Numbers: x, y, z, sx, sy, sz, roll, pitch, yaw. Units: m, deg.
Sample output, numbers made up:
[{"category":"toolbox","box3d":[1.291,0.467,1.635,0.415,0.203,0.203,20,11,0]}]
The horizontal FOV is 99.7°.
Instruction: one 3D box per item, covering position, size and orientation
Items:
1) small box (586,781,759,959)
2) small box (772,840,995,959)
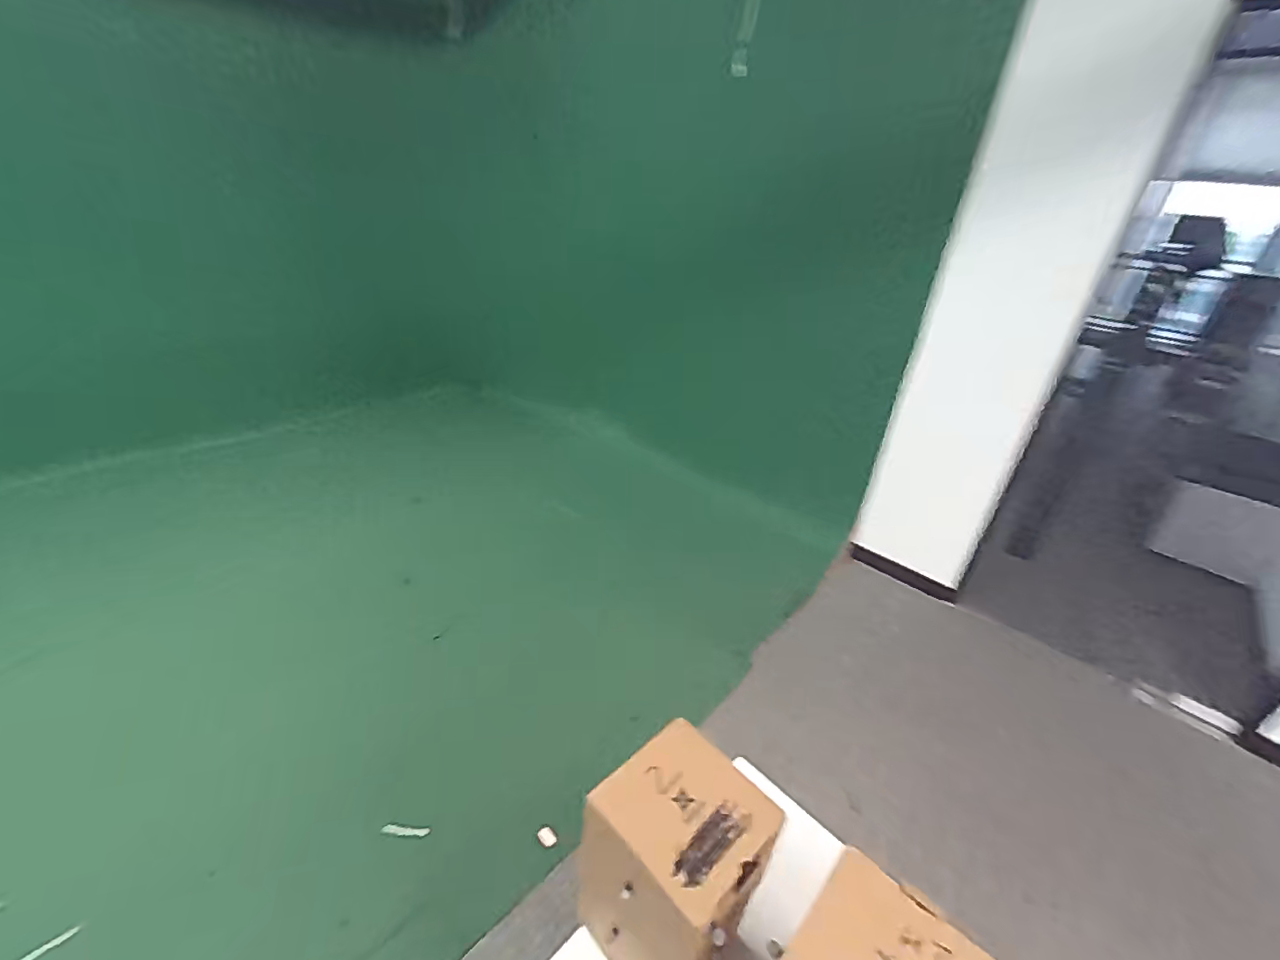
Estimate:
[{"category":"small box","box3d":[0.036,0.587,0.766,0.168,0.176,0.179,-23,43,-39]},{"category":"small box","box3d":[0.229,0.537,0.554,0.168,0.176,0.179,29,37,35]}]
